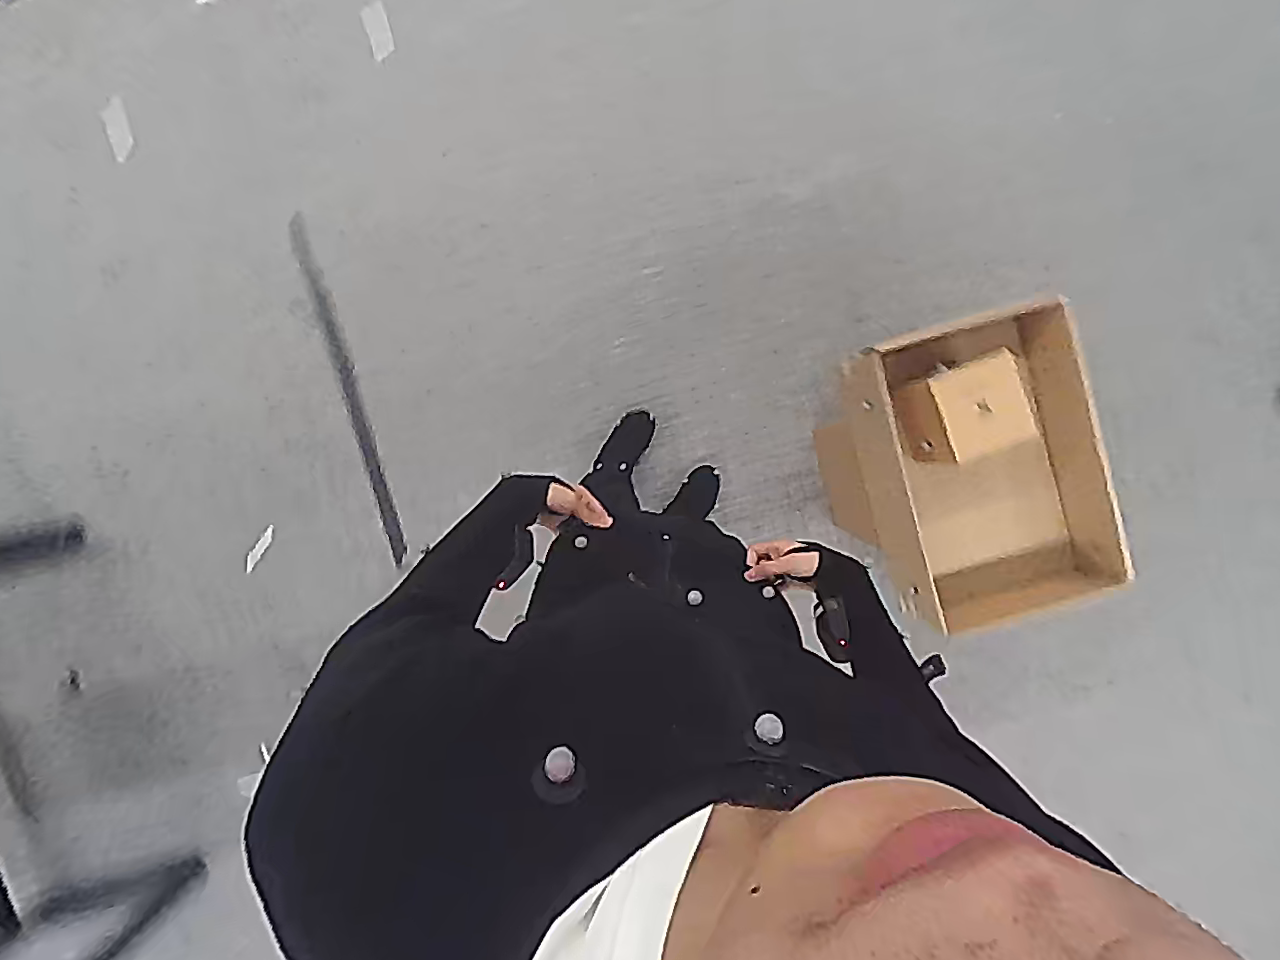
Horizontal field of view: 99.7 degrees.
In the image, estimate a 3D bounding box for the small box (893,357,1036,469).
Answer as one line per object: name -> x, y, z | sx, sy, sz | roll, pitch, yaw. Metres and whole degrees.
small box -> 0.658, -0.134, 1.115 | 0.168, 0.176, 0.179 | -20, 93, 1
